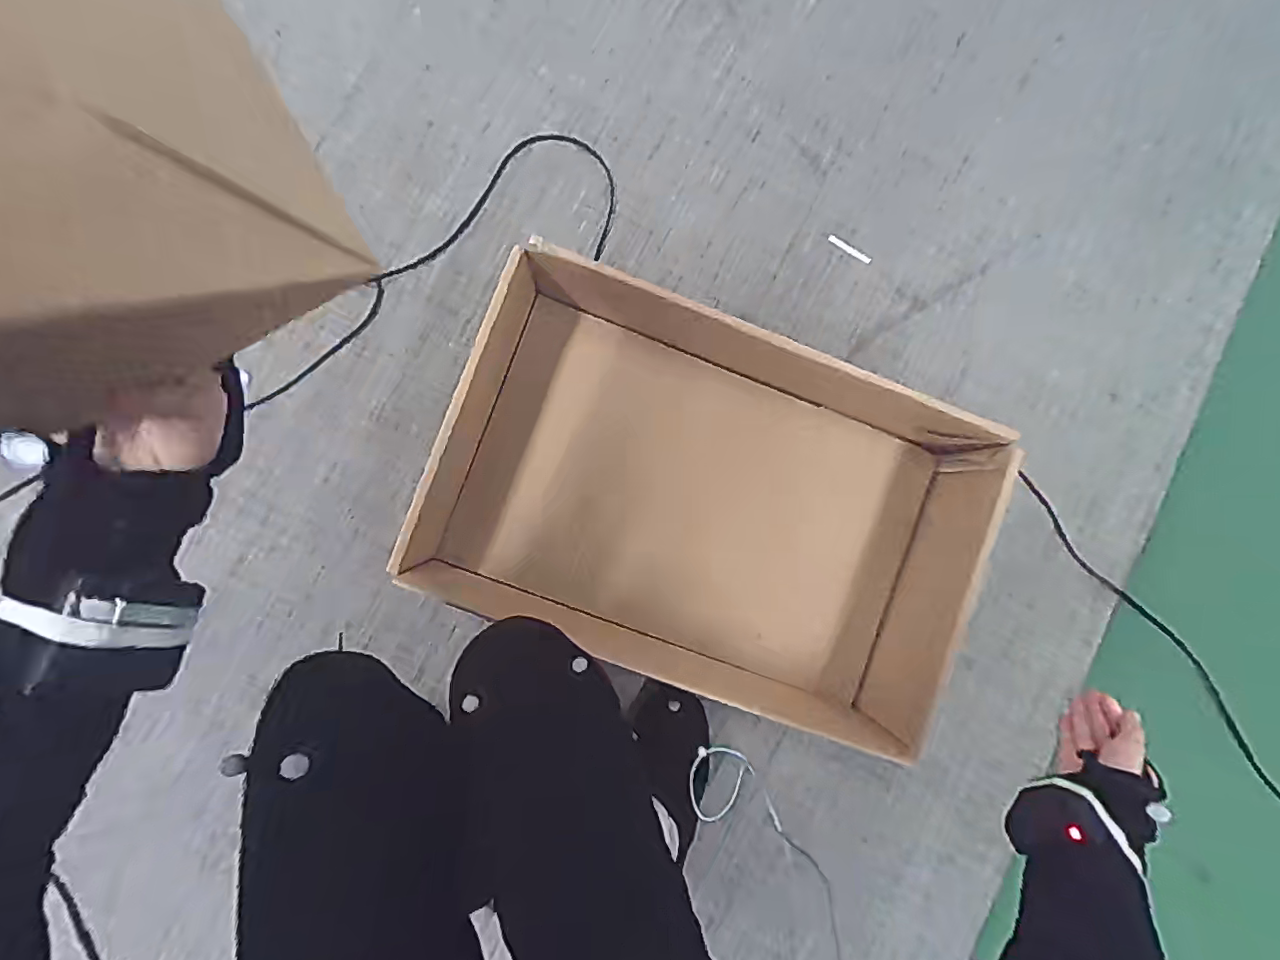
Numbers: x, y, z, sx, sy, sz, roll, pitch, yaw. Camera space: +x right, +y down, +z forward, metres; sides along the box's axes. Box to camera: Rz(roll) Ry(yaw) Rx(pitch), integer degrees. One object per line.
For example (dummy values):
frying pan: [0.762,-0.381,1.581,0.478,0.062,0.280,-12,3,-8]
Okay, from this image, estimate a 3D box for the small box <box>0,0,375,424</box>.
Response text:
small box: [-0.218,-0.107,0.150,0.176,0.179,0.168,-20,109,14]
